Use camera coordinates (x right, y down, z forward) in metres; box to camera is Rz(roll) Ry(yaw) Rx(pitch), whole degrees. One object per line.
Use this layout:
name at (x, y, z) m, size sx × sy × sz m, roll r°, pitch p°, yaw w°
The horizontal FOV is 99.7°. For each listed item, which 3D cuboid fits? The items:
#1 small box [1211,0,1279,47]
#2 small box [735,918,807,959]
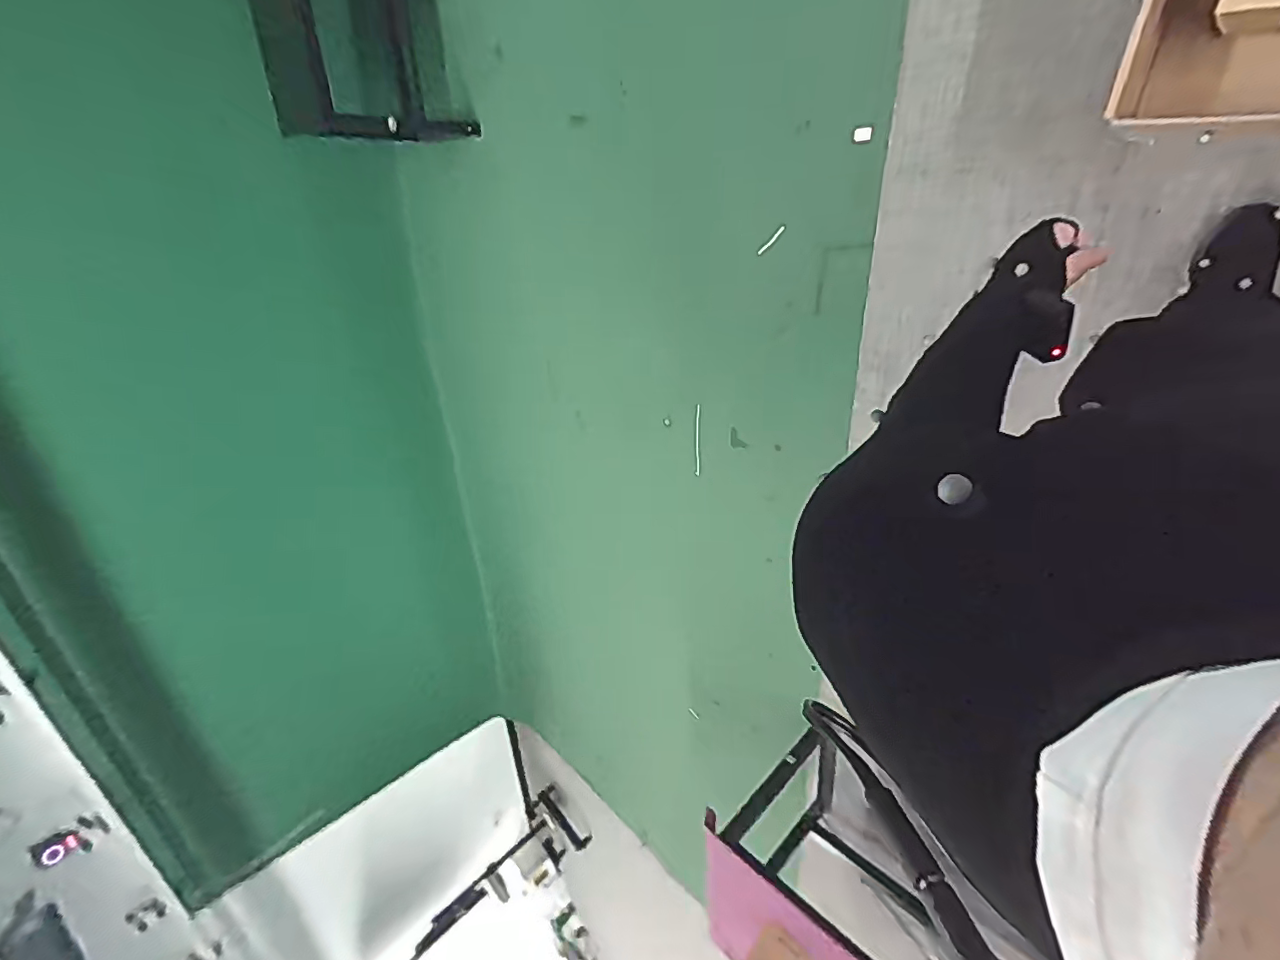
small box at (0.791, -0.611, 0.597) m, size 0.168 × 0.176 × 0.179 m, roll 30°, pitch 129°, yaw 38°
small box at (0.398, 1.504, 1.643) m, size 0.168 × 0.176 × 0.179 m, roll 22°, pitch 125°, yaw 40°
